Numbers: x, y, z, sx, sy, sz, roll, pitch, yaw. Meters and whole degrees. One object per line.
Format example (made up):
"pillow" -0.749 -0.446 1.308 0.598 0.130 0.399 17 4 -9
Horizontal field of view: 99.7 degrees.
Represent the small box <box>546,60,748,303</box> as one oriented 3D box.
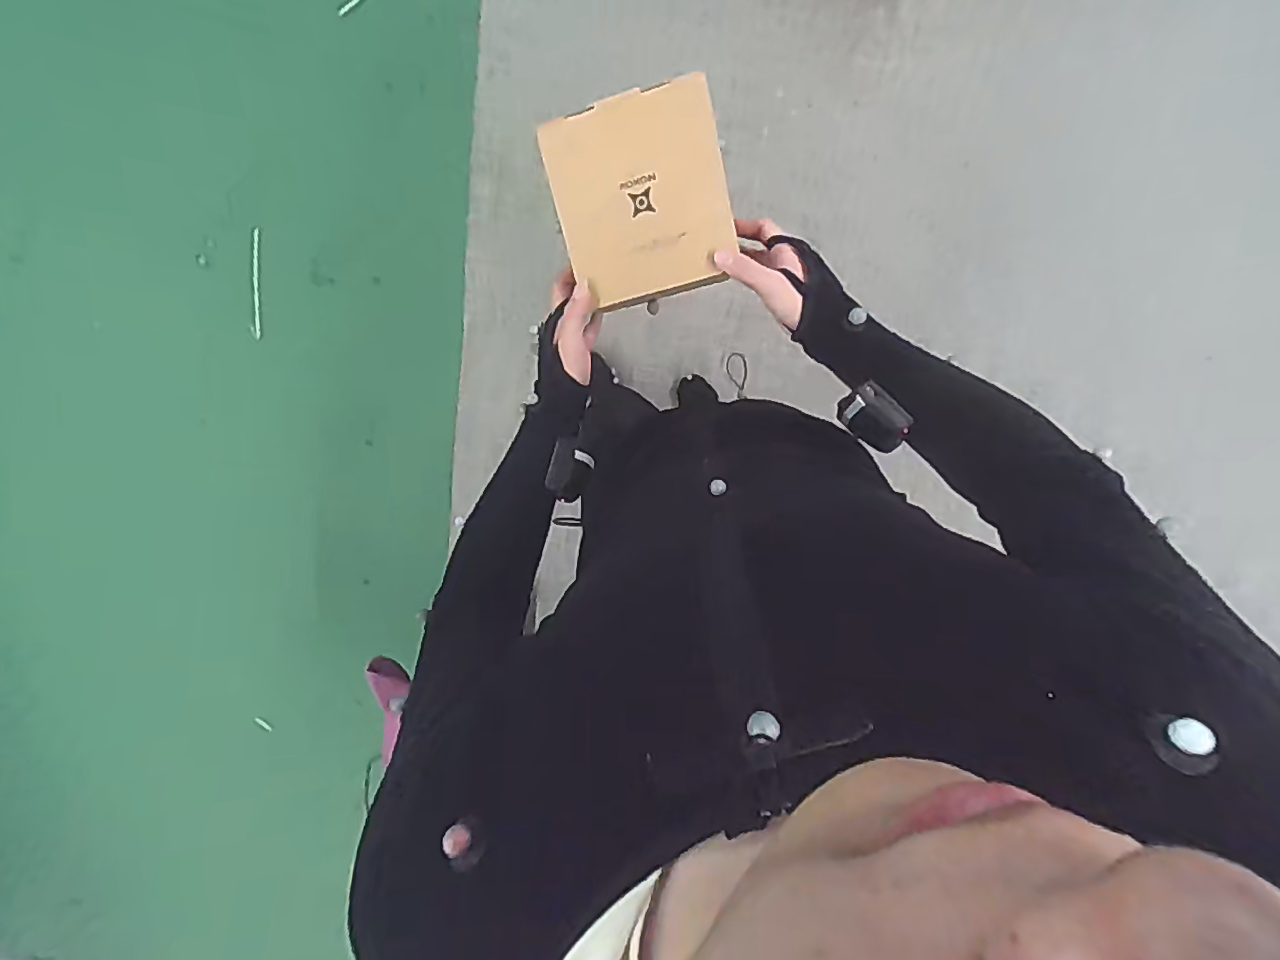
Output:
"small box" 0.013 -0.301 0.588 0.168 0.176 0.179 -11 106 8
